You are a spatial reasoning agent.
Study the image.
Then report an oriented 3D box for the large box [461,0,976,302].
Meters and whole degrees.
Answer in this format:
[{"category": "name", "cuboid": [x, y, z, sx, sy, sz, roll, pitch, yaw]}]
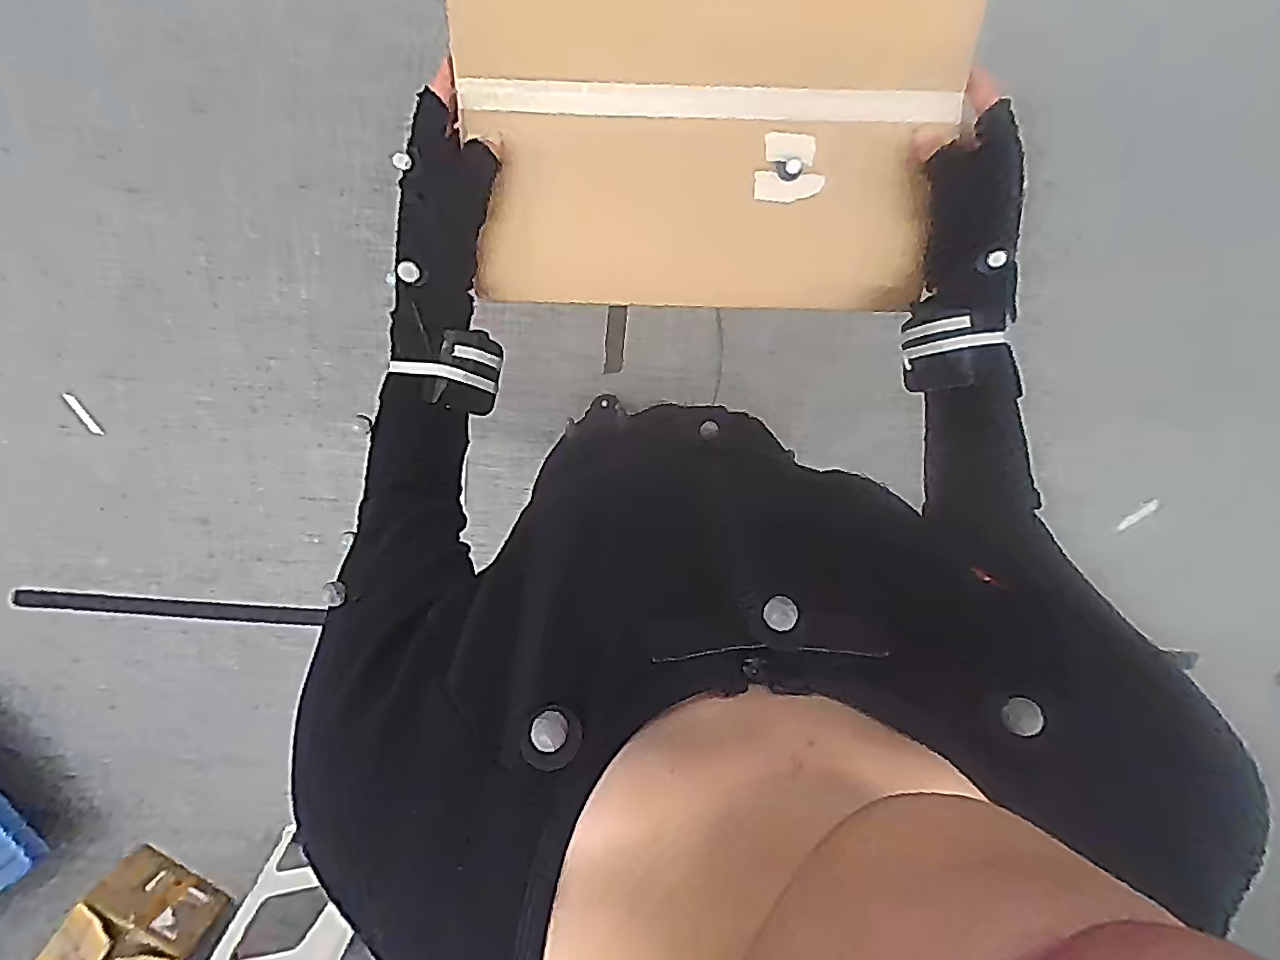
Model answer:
[{"category": "large box", "cuboid": [0.054, -0.366, 0.575, 0.408, 0.320, 0.320, 1, 114, -2]}]
